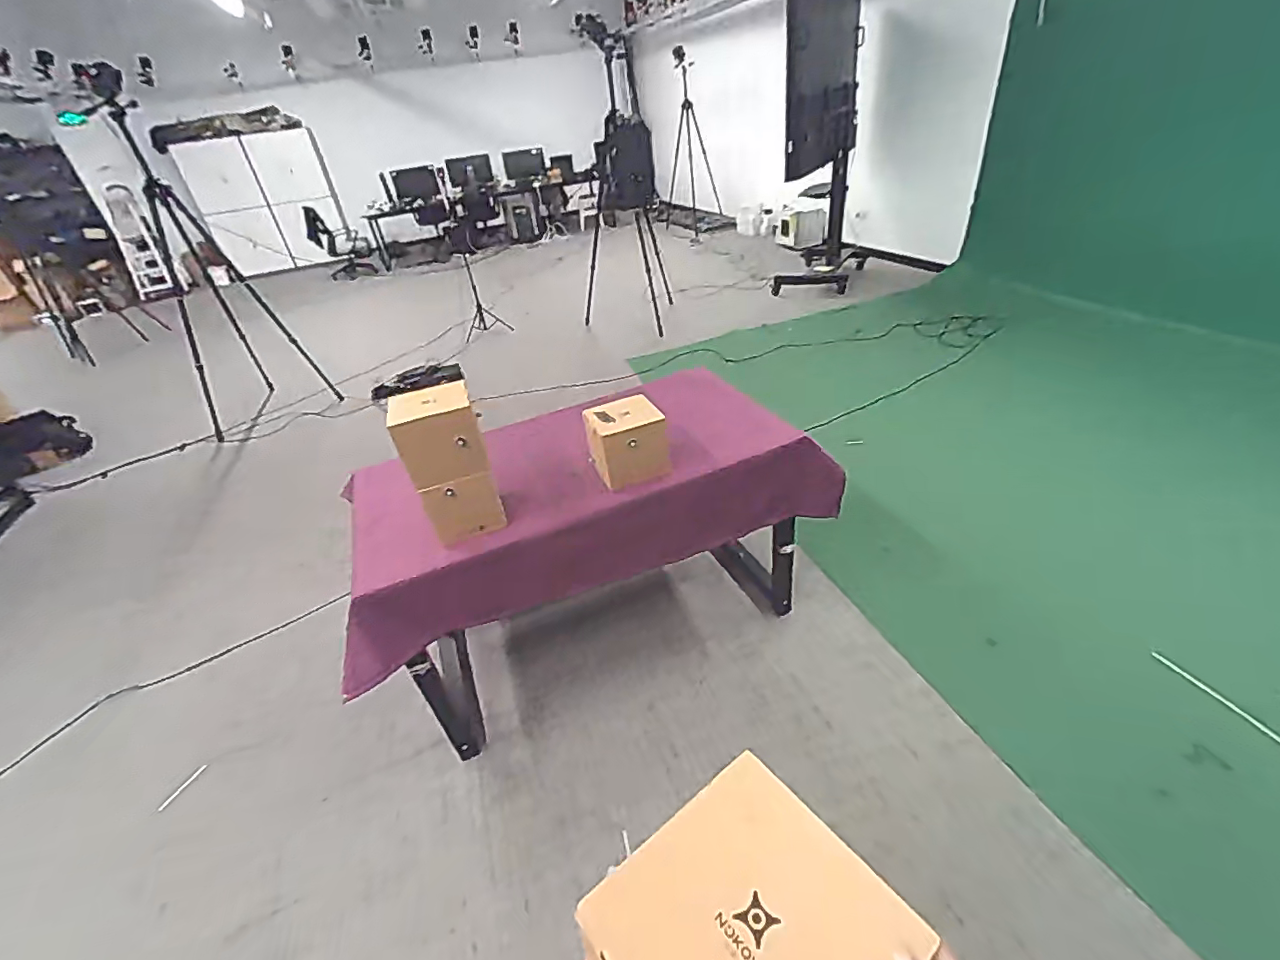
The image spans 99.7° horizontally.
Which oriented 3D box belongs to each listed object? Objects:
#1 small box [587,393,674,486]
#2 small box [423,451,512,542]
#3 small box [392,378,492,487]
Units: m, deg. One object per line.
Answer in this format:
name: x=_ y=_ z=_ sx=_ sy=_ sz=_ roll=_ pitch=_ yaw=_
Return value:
small box: x=-0.023 y=-0.107 z=1.434 sx=0.179 sy=0.176 sz=0.168 roll=-18 pitch=36 yaw=-14
small box: x=-0.427 y=0.024 z=1.335 sx=0.168 sy=0.176 sz=0.179 roll=-18 pitch=35 yaw=-12
small box: x=-0.447 y=-0.110 z=1.242 sx=0.179 sy=0.176 sz=0.168 roll=-17 pitch=35 yaw=-12
